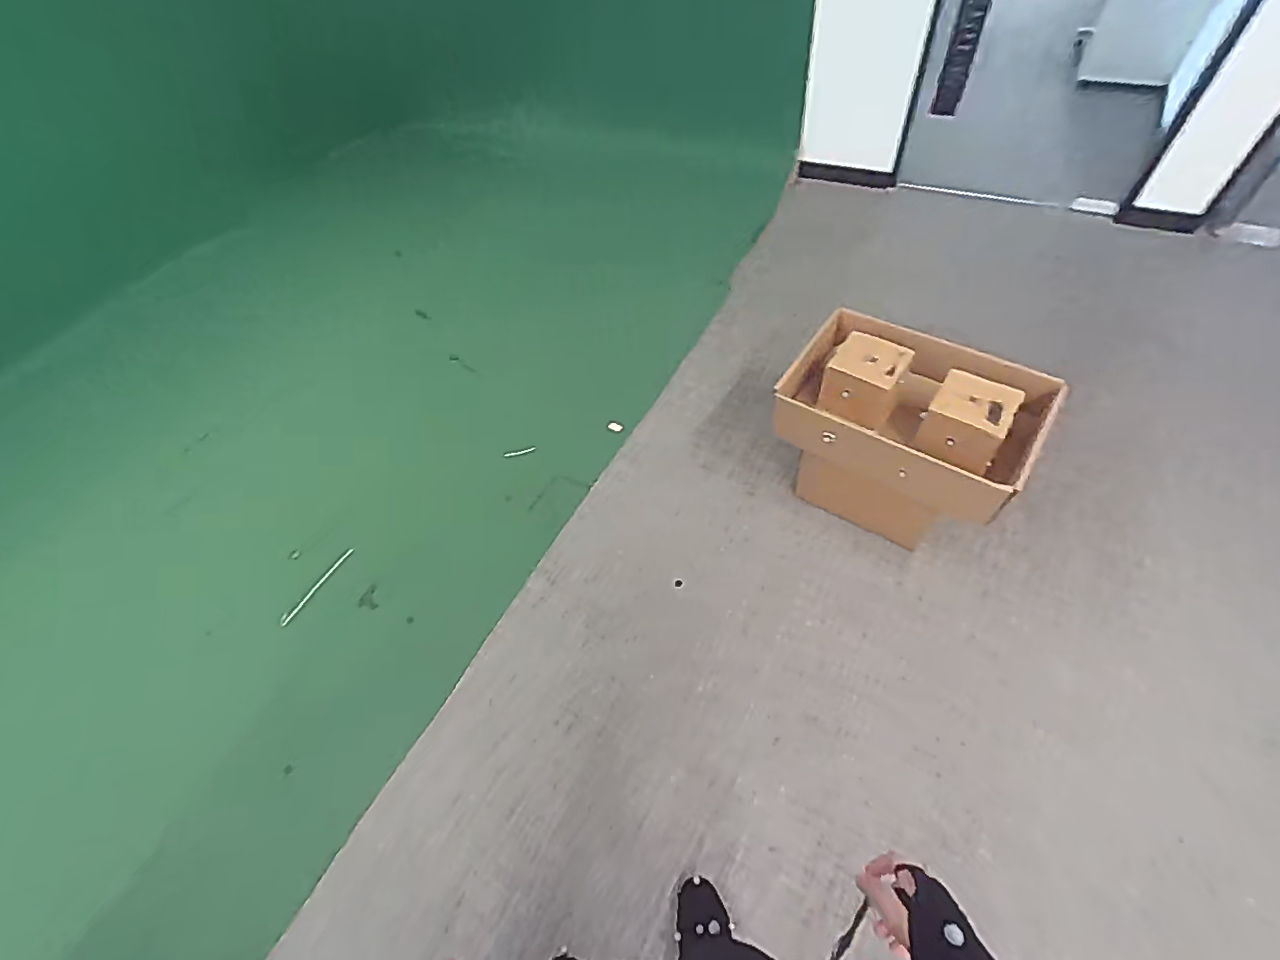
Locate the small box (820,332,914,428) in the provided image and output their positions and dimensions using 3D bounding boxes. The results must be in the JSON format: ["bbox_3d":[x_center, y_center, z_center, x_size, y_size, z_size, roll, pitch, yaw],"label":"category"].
[{"bbox_3d":[0.618,-0.272,1.495,0.179,0.176,0.168,30,65,26],"label":"small box"}]
